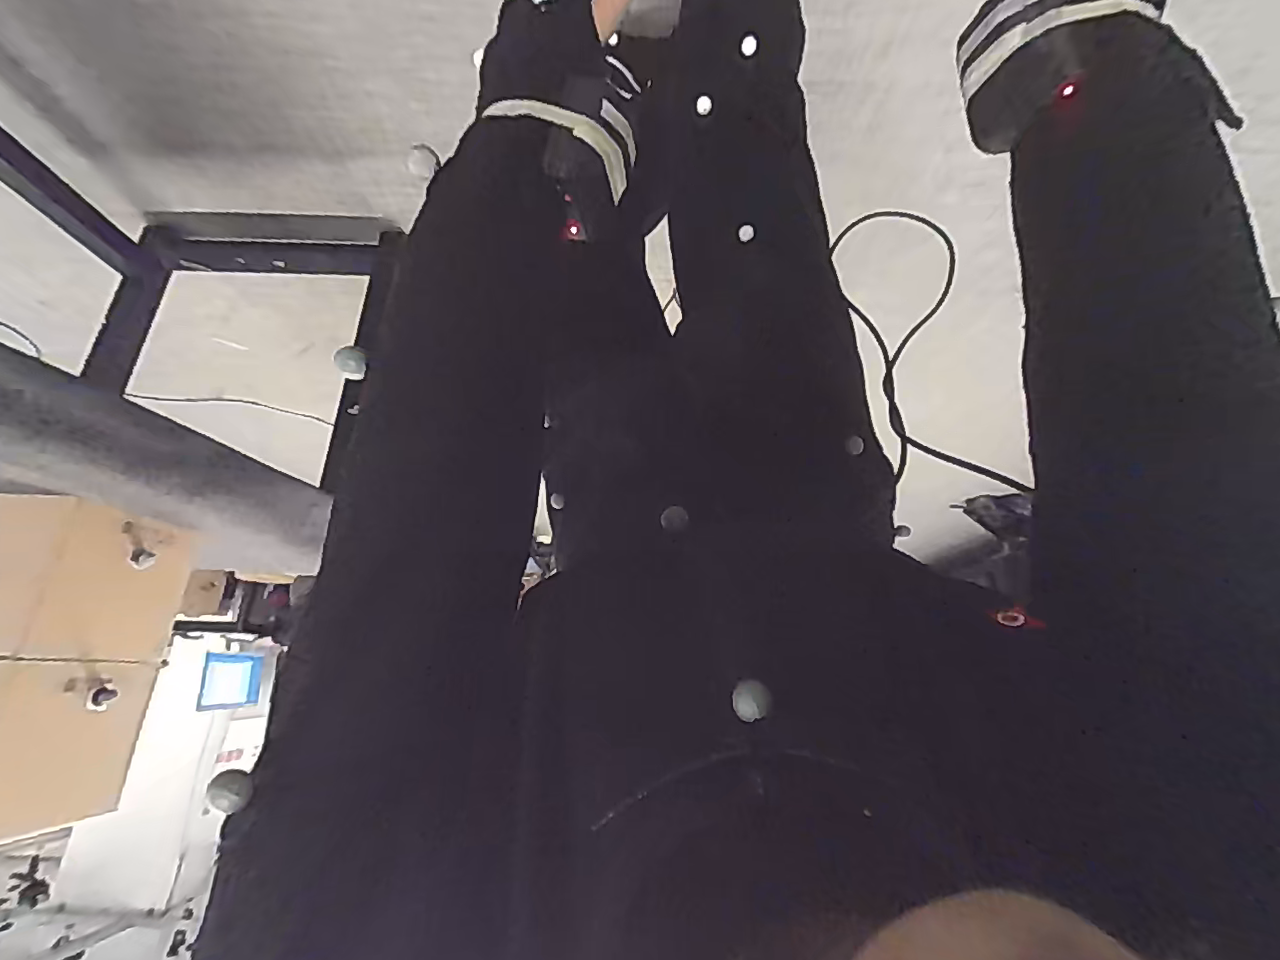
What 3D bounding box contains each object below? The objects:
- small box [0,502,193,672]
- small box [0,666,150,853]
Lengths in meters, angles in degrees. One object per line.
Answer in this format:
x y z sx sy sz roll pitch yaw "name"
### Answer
-0.670 0.125 0.614 0.179 0.176 0.168 1 160 2 "small box"
-0.675 0.277 0.559 0.179 0.176 0.168 0 161 2 "small box"
